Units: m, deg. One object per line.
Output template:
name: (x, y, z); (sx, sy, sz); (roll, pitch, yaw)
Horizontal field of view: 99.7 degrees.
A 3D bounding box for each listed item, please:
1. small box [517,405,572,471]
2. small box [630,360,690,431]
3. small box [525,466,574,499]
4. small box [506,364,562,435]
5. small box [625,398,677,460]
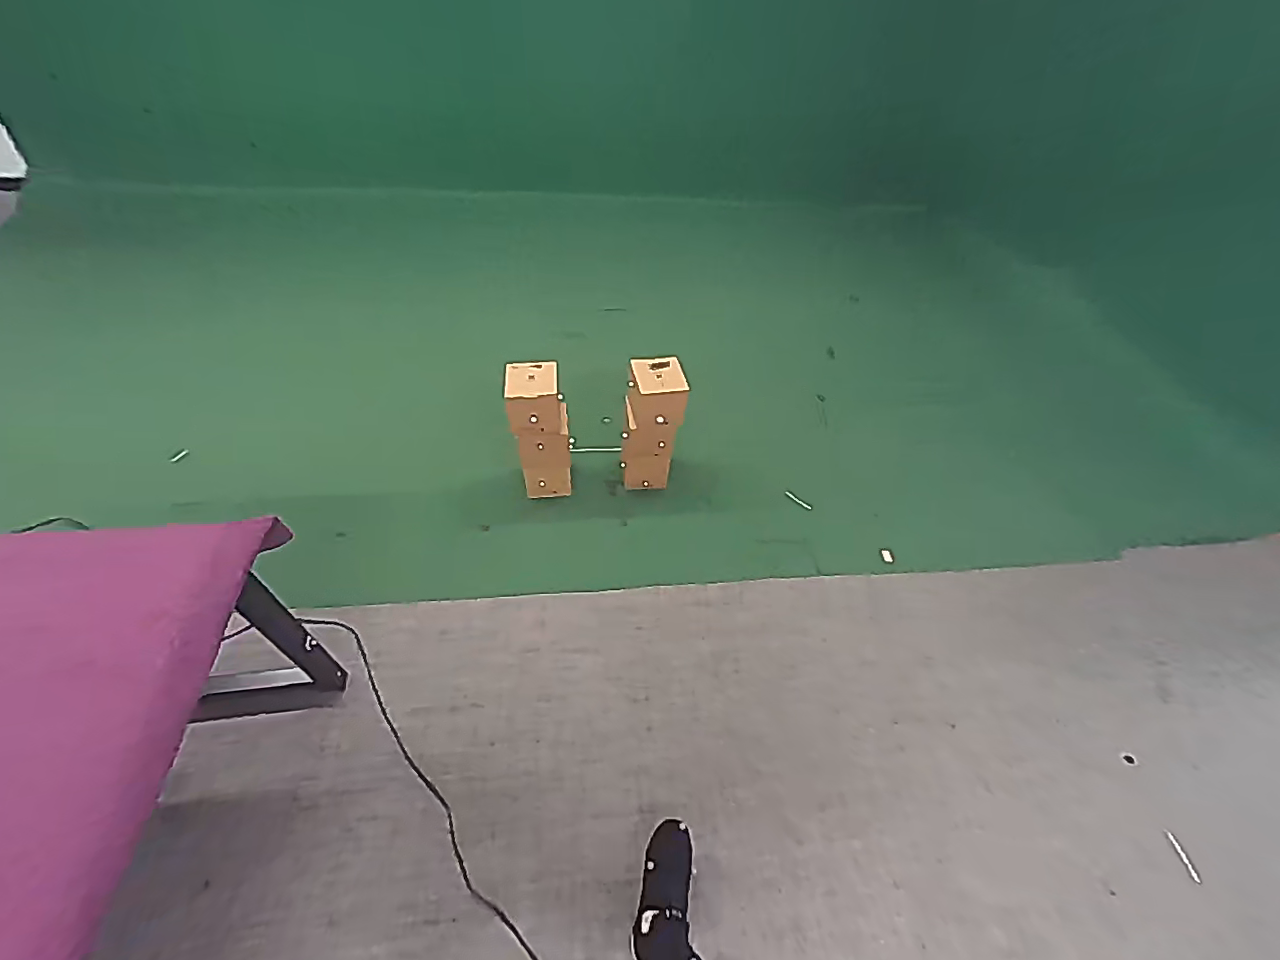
small box: (-0.335, -0.146, 1.919); (0.179, 0.176, 0.168); (-4, 49, -7)
small box: (0.062, -0.290, 1.856); (0.168, 0.176, 0.179); (-7, 52, -11)
small box: (-0.341, -0.041, 2.046); (0.168, 0.176, 0.179); (-4, 49, -7)
small box: (-0.348, -0.264, 1.803); (0.168, 0.176, 0.179); (-3, 50, -6)
small box: (0.036, -0.184, 1.978); (0.168, 0.176, 0.179); (-2, 50, -8)
